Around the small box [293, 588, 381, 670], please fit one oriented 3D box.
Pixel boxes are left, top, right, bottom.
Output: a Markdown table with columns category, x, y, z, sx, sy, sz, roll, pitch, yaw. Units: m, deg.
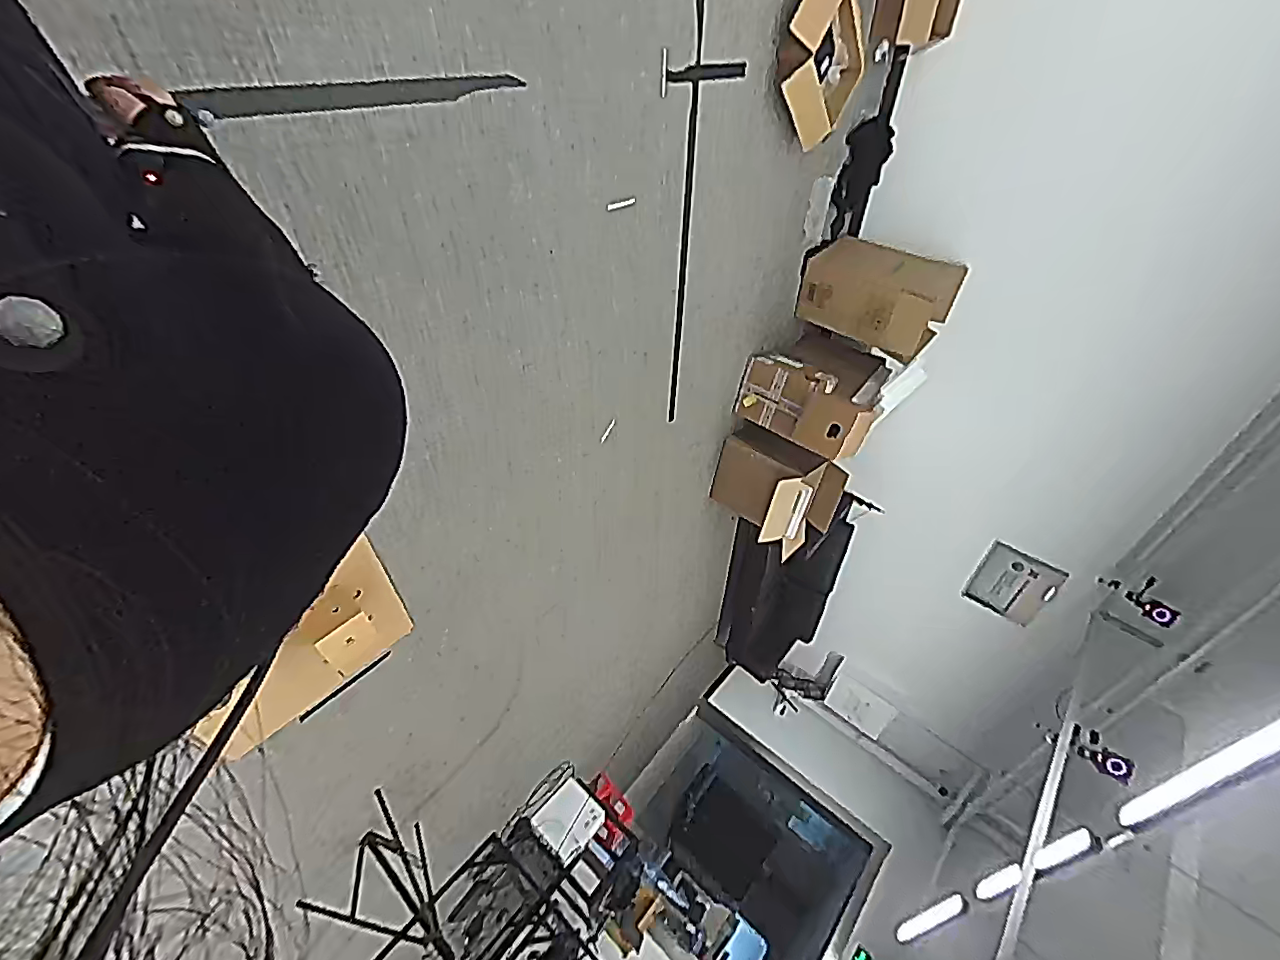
| category | x | y | z | sx | sy | sz | roll | pitch | yaw |
| --- | --- | --- | --- | --- | --- | --- | --- | --- | --- |
| small box | -1.011 | 0.488 | 1.803 | 0.168 | 0.176 | 0.179 | -39 | 146 | -32 |
